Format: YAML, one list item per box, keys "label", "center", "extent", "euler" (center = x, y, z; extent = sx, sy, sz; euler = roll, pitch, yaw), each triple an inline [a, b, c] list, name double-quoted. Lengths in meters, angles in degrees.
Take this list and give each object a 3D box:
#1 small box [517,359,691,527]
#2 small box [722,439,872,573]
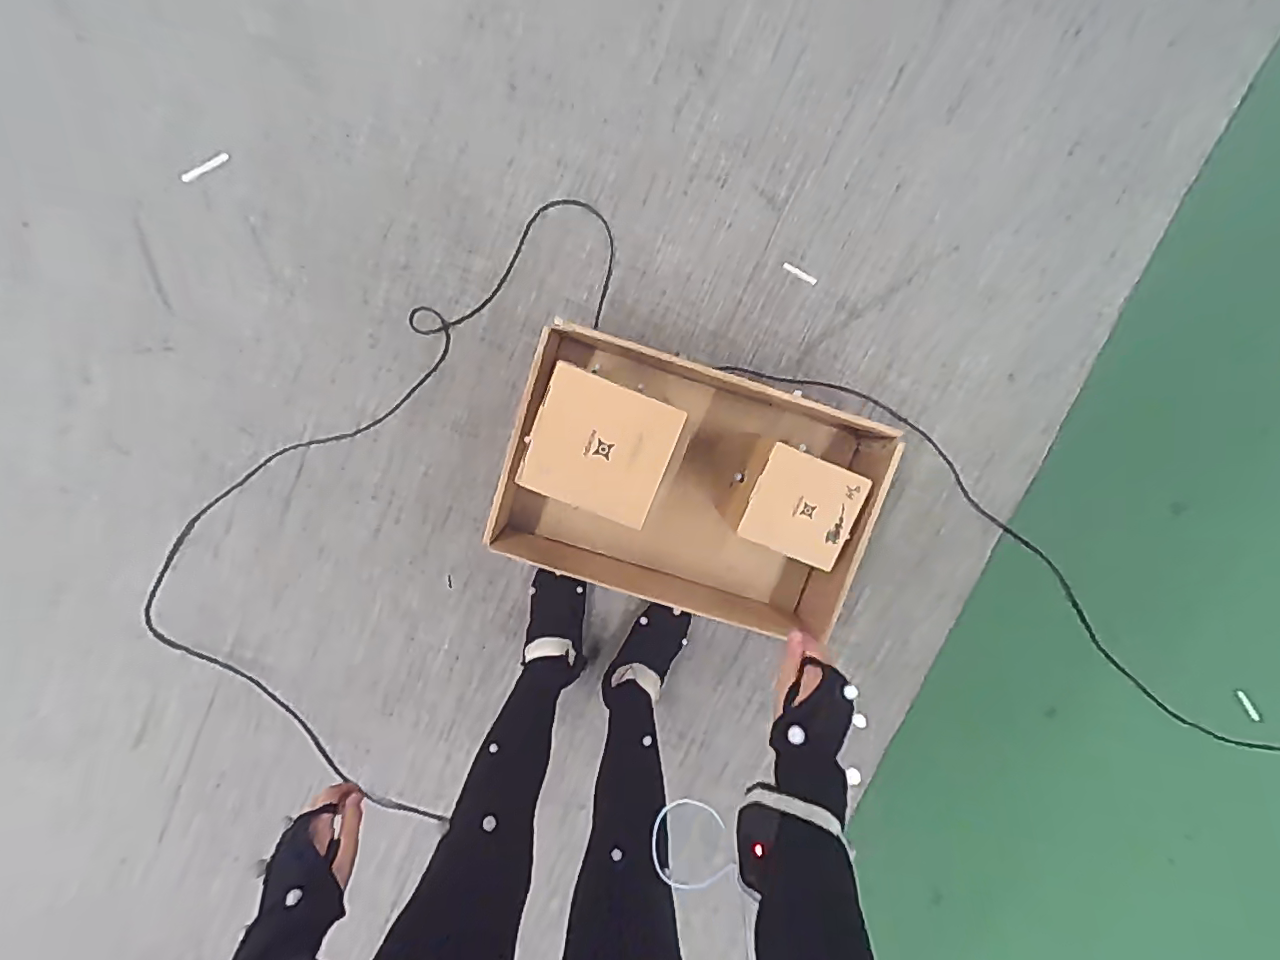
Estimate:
- label: "small box"
  center: [-0.049, -0.056, 0.756]
  extent: [0.179, 0.176, 0.168]
  euler: [22, 99, -6]
- label: "small box"
  center: [0.259, 0.035, 0.944]
  extent: [0.179, 0.176, 0.168]
  euler: [23, 97, -4]
